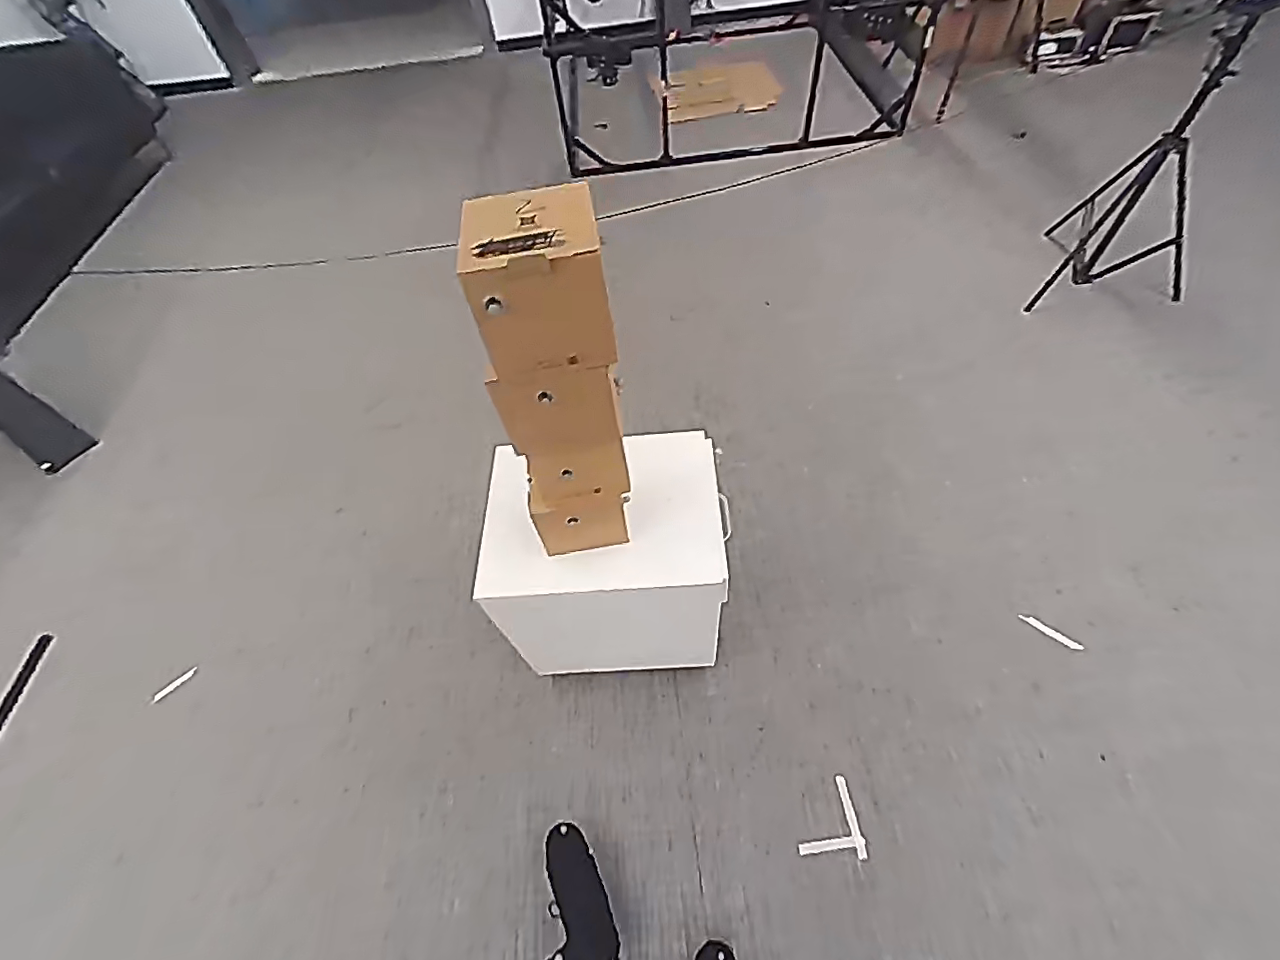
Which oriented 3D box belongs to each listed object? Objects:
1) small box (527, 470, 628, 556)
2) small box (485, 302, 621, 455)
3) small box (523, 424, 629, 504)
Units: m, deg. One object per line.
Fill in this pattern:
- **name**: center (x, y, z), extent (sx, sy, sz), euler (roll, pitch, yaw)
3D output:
- **small box**: center (-0.127, 0.042, 1.120), extent (0.179, 0.176, 0.168), euler (-9, 54, -2)
- **small box**: center (-0.129, -0.154, 0.858), extent (0.179, 0.176, 0.168), euler (-7, 54, 0)
- **small box**: center (-0.115, -0.069, 0.999), extent (0.168, 0.176, 0.179), euler (-9, 53, -1)
